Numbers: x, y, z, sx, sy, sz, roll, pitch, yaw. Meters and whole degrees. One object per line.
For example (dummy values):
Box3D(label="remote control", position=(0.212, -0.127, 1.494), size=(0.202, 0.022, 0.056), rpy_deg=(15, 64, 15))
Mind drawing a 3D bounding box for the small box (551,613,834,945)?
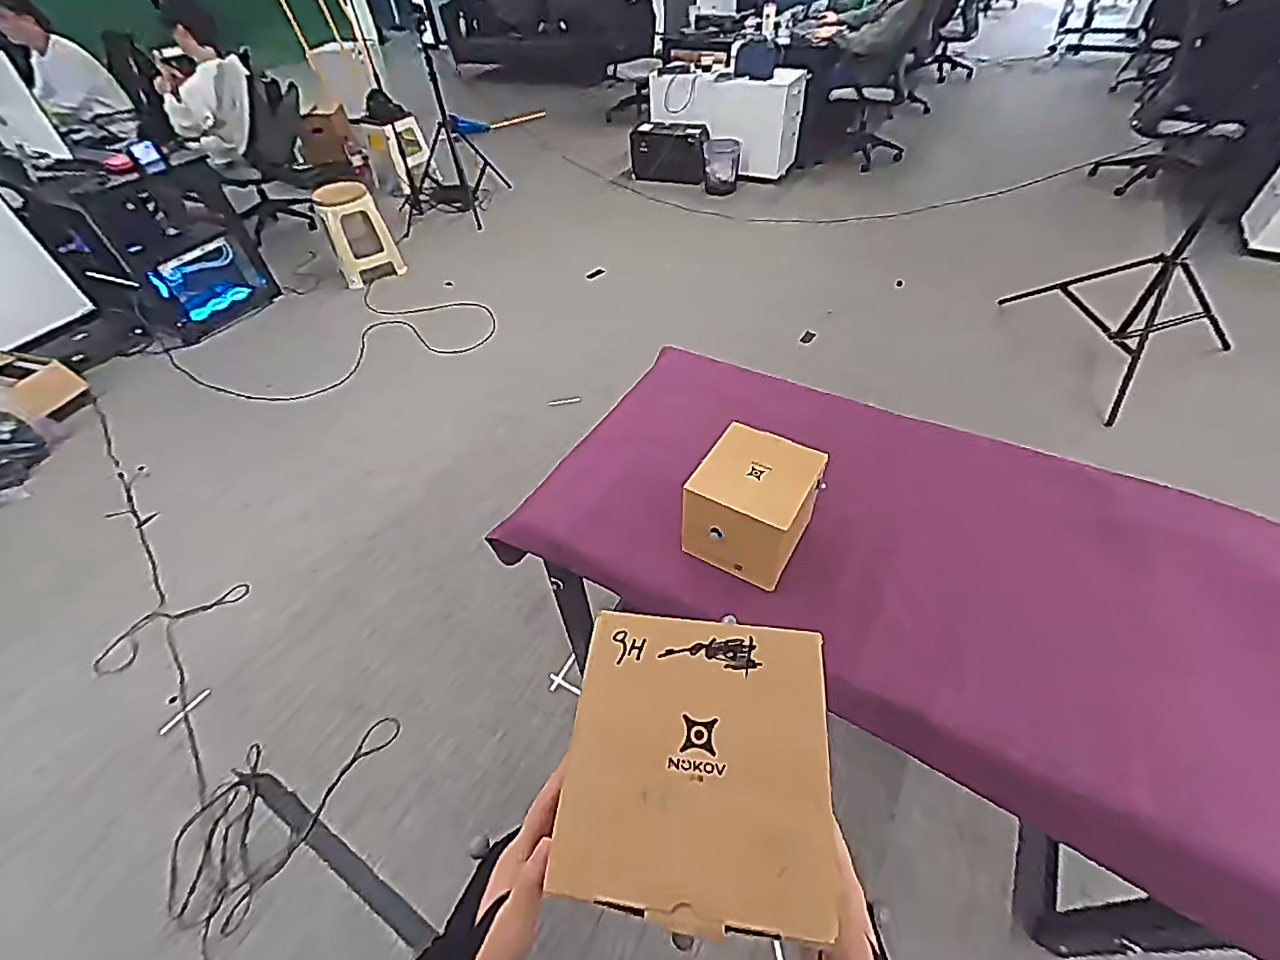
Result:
Box3D(label="small box", position=(0.045, 0.224, 0.417), size=(0.168, 0.176, 0.179), rpy_deg=(4, 54, 8))

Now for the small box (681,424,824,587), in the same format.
Box3D(label="small box", position=(0.181, 0.044, 0.888), size=(0.168, 0.176, 0.179), rpy_deg=(23, 52, 22))
